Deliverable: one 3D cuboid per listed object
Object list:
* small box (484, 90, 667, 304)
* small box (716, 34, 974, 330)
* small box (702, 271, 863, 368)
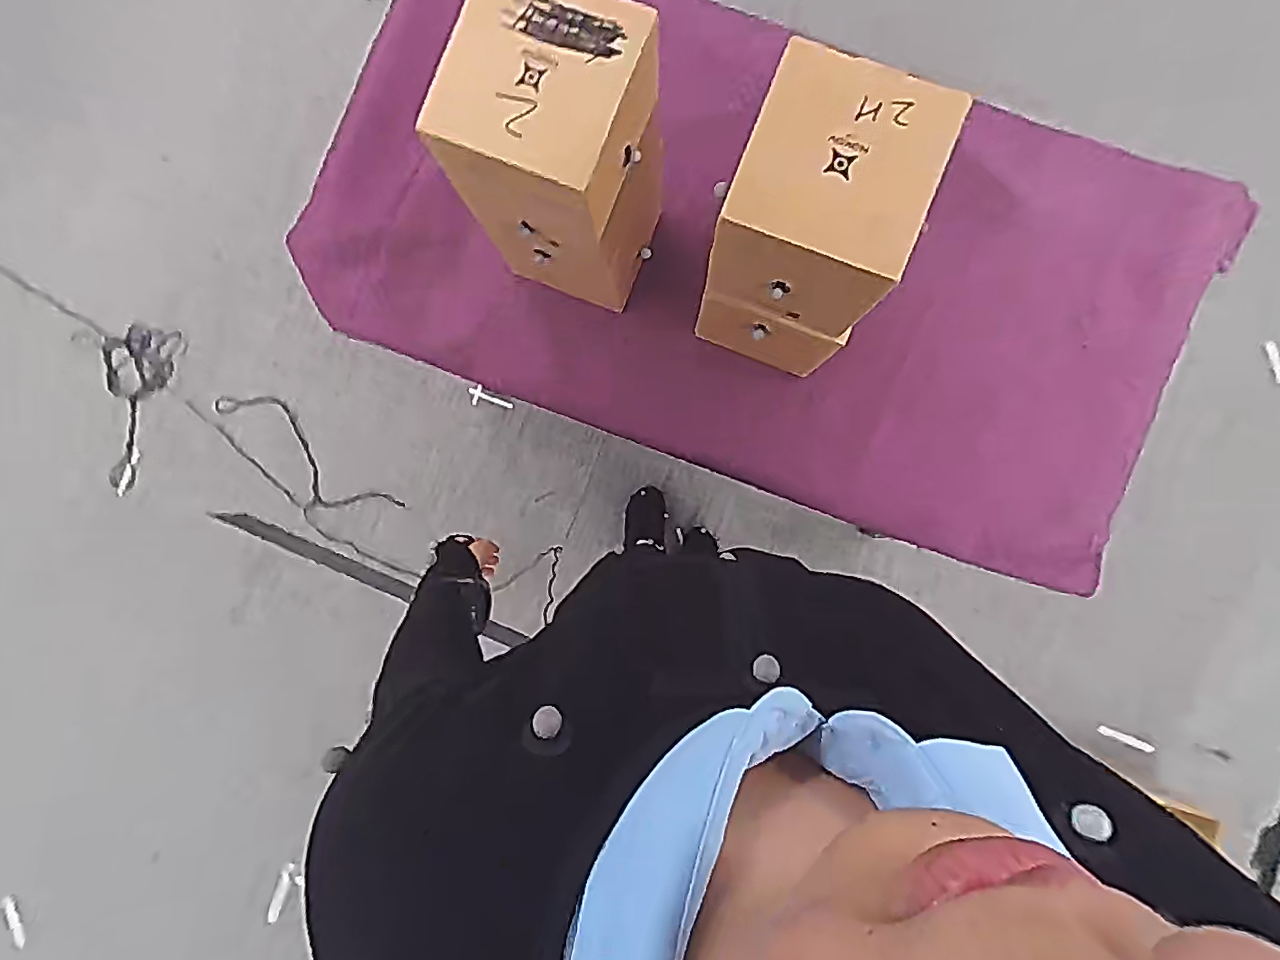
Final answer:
[{"bbox_3d":[-0.075,-0.358,0.720,0.179,0.176,0.168,22,89,2],"label":"small box"},{"bbox_3d":[0.183,-0.275,0.543,0.168,0.176,0.179,22,89,3],"label":"small box"},{"bbox_3d":[0.194,-0.260,0.707,0.179,0.176,0.168,22,89,4],"label":"small box"}]
